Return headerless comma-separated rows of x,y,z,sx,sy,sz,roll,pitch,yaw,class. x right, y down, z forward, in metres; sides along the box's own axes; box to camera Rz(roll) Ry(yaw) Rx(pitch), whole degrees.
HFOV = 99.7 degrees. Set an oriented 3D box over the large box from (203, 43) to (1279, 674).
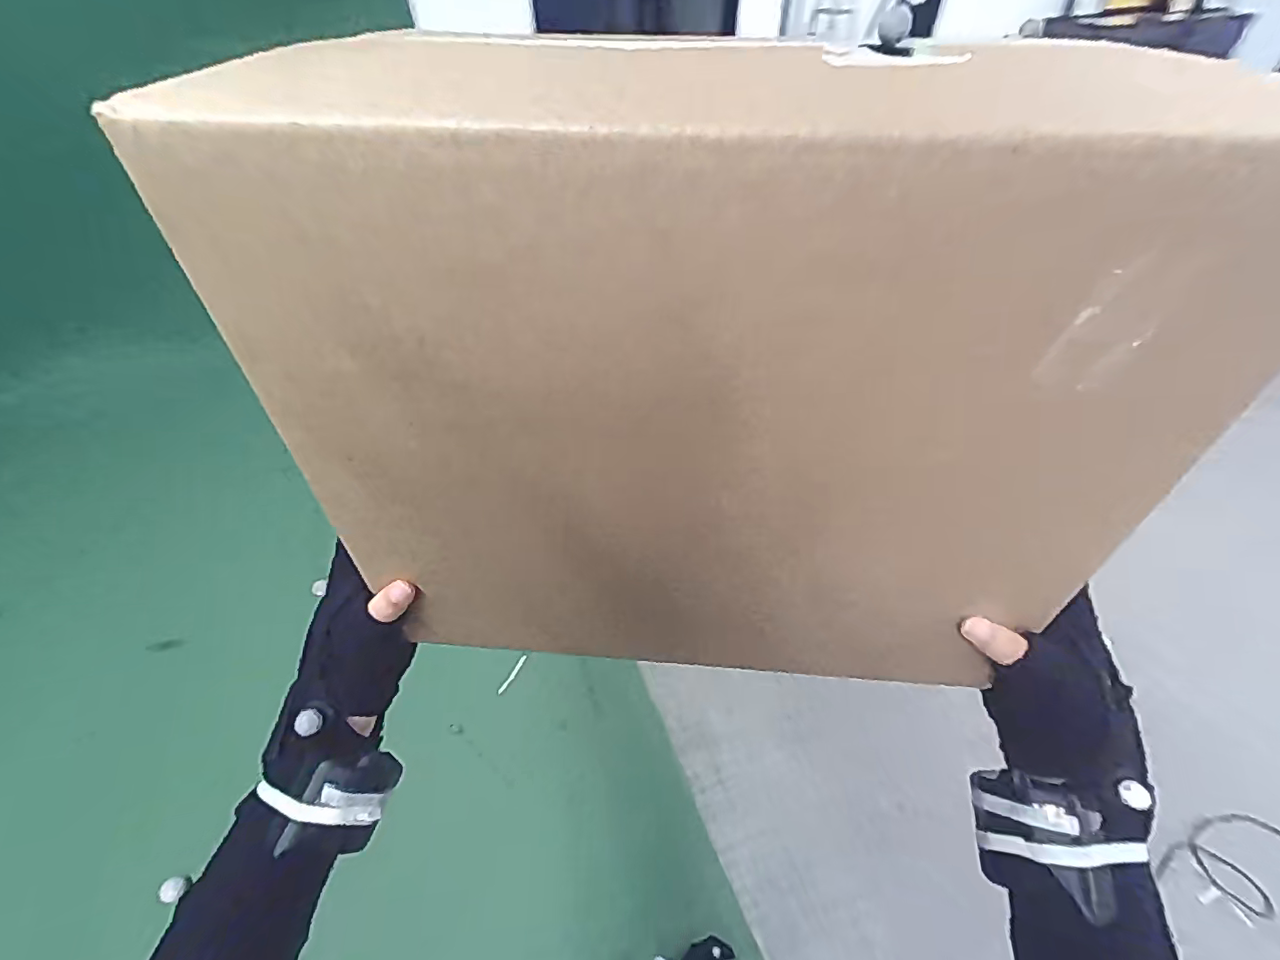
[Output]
0.057,-0.091,0.379,0.408,0.320,0.320,5,43,3,large box
